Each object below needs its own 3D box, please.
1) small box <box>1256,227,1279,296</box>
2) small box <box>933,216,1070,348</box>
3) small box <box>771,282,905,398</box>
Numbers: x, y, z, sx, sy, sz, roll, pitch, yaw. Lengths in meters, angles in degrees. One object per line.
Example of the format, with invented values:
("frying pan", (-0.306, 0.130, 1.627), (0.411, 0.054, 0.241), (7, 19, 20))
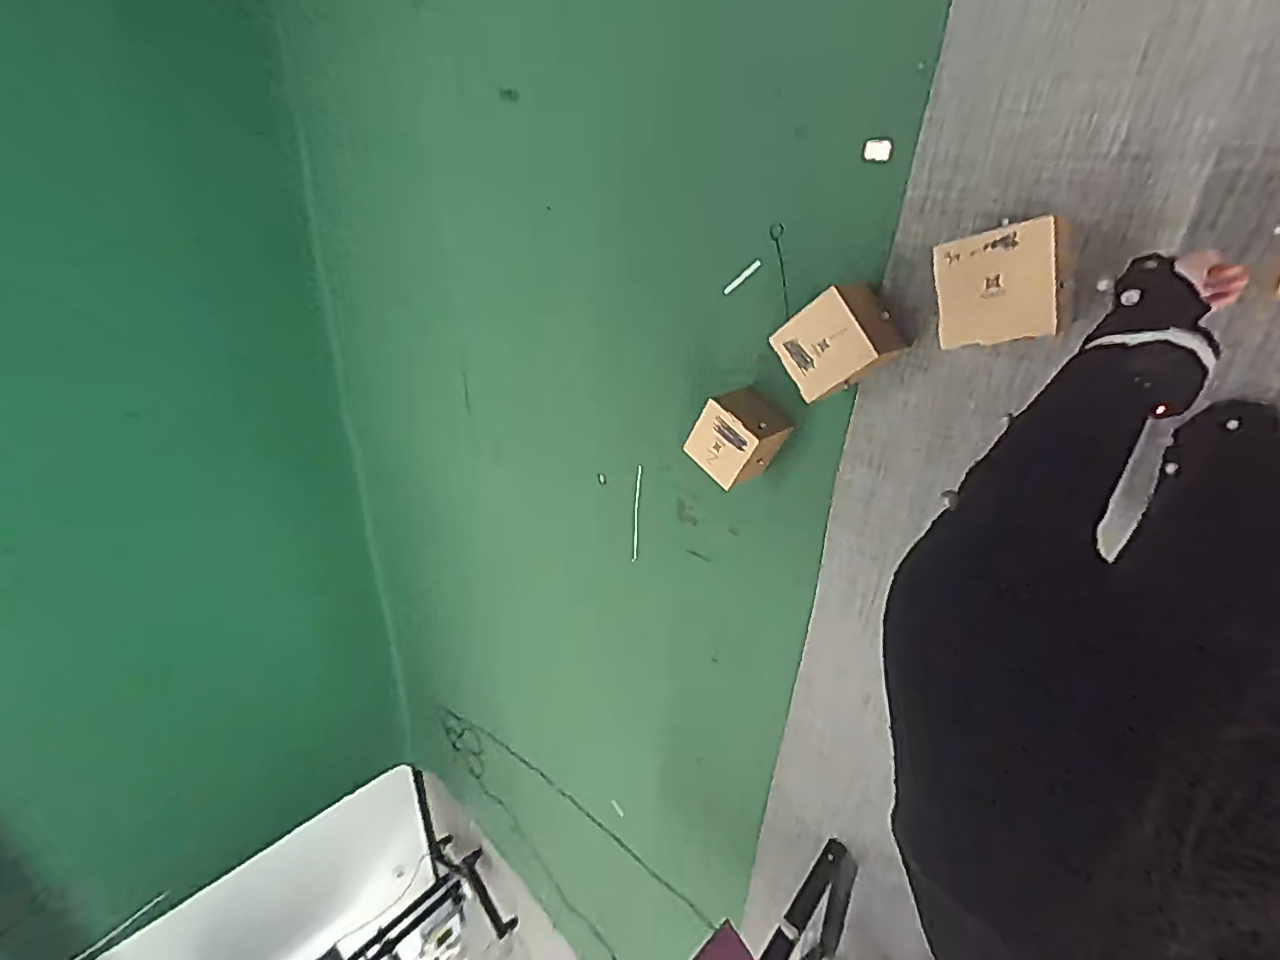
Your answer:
("small box", (0.908, -0.305, 0.650), (0.179, 0.176, 0.168), (21, 120, 38))
("small box", (0.622, -0.336, 0.926), (0.168, 0.176, 0.179), (2, 108, 45))
("small box", (0.421, -0.296, 1.144), (0.179, 0.176, 0.168), (-36, 79, 45))
